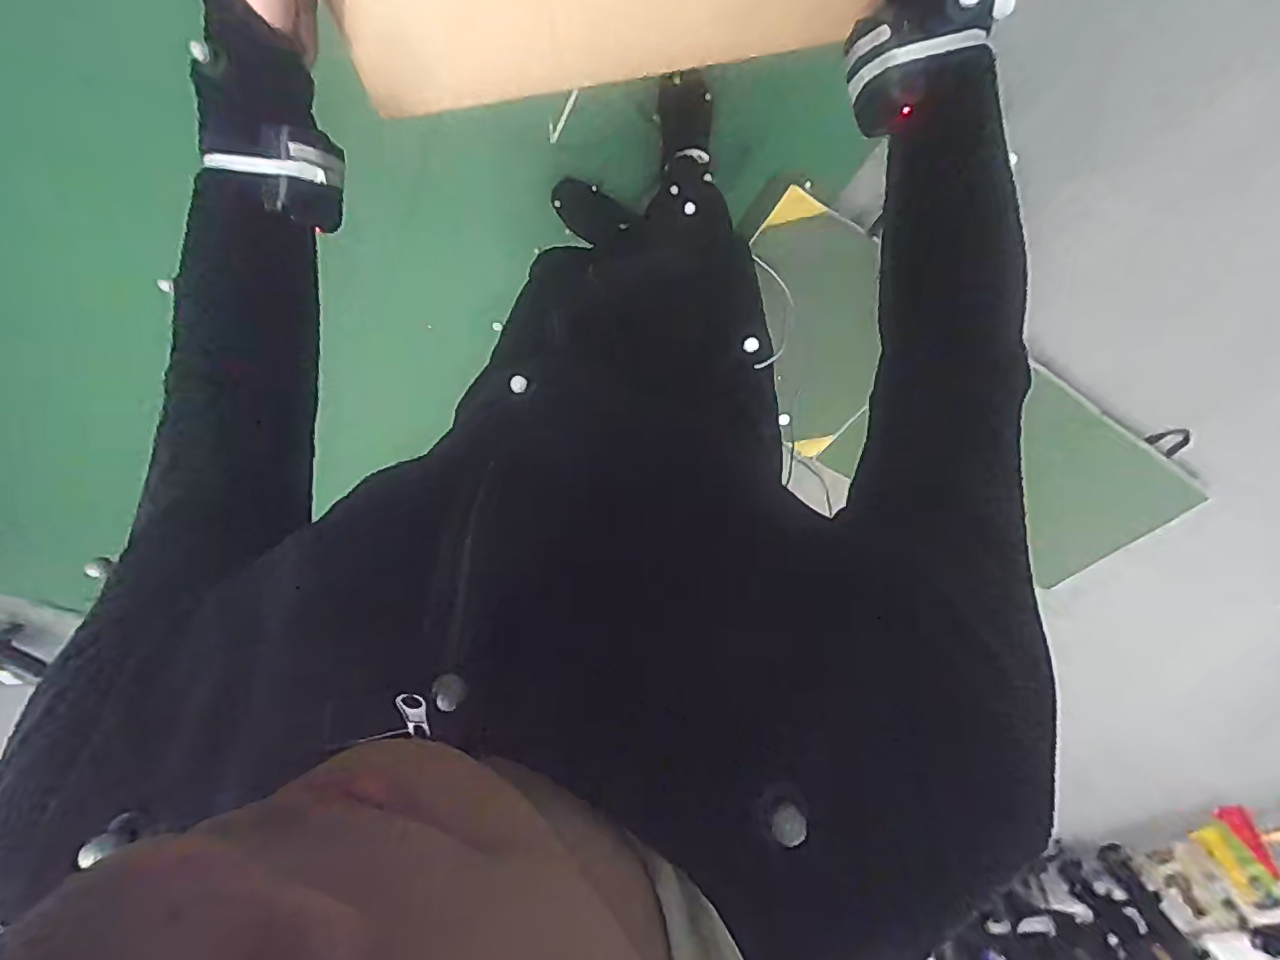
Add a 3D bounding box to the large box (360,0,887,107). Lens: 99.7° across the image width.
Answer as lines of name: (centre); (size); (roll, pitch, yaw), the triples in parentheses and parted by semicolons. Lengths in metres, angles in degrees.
large box: (-0.028, -0.547, 0.426); (0.408, 0.320, 0.320); (-4, 139, 7)
